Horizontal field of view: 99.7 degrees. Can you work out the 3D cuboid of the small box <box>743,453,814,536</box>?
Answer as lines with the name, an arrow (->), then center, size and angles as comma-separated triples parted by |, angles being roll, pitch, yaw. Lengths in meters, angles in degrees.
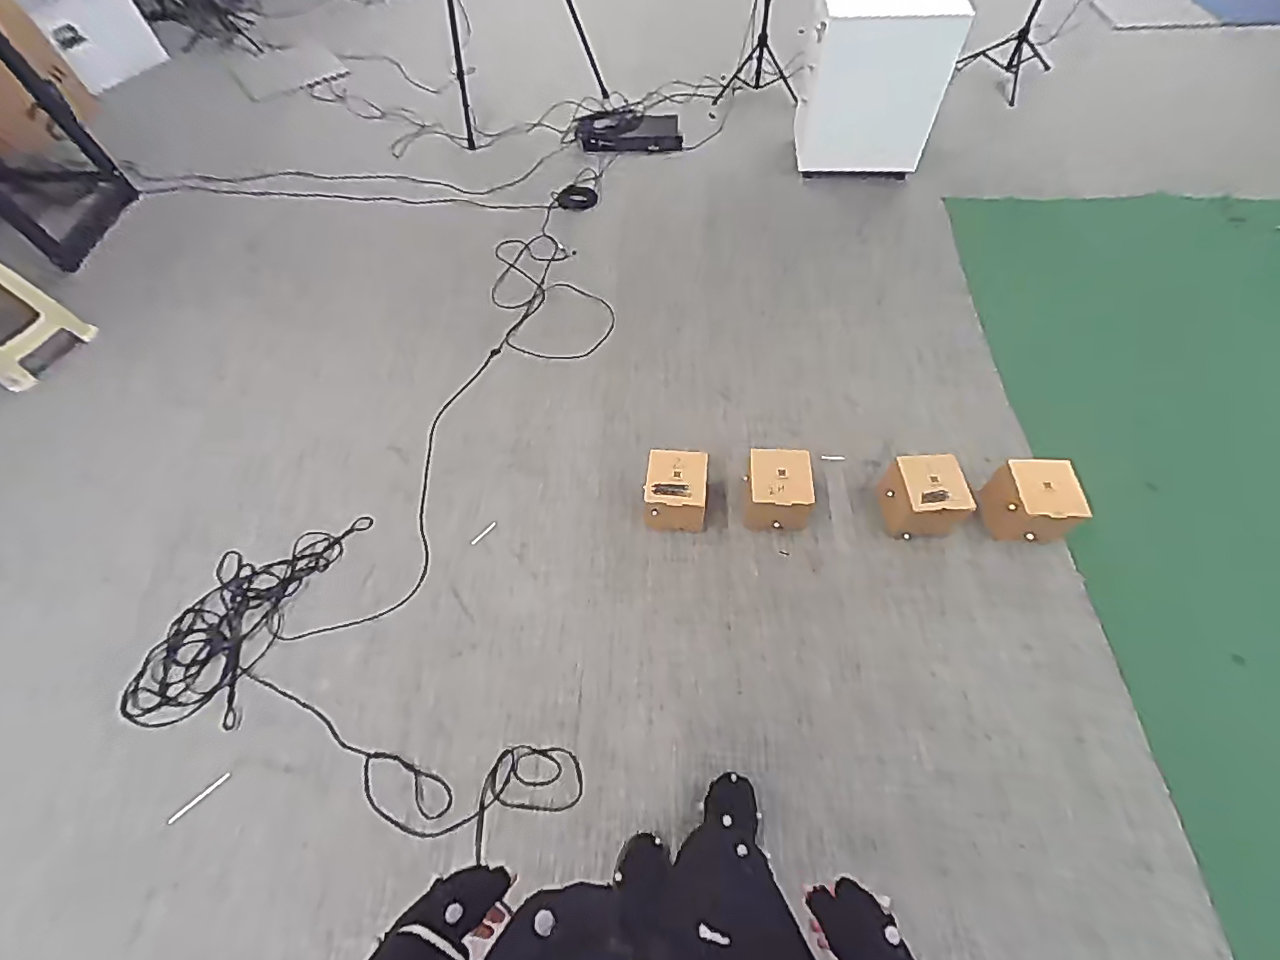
small box -> 0.389, 0.042, 1.549 | 0.168, 0.176, 0.179 | 2, 59, 5

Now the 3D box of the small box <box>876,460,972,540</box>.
small box -> 0.790, 0.063, 1.524 | 0.168, 0.176, 0.179 | -2, 57, 1

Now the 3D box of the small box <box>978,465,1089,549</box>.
small box -> 1.082, 0.077, 1.507 | 0.168, 0.176, 0.179 | 1, 58, 4
